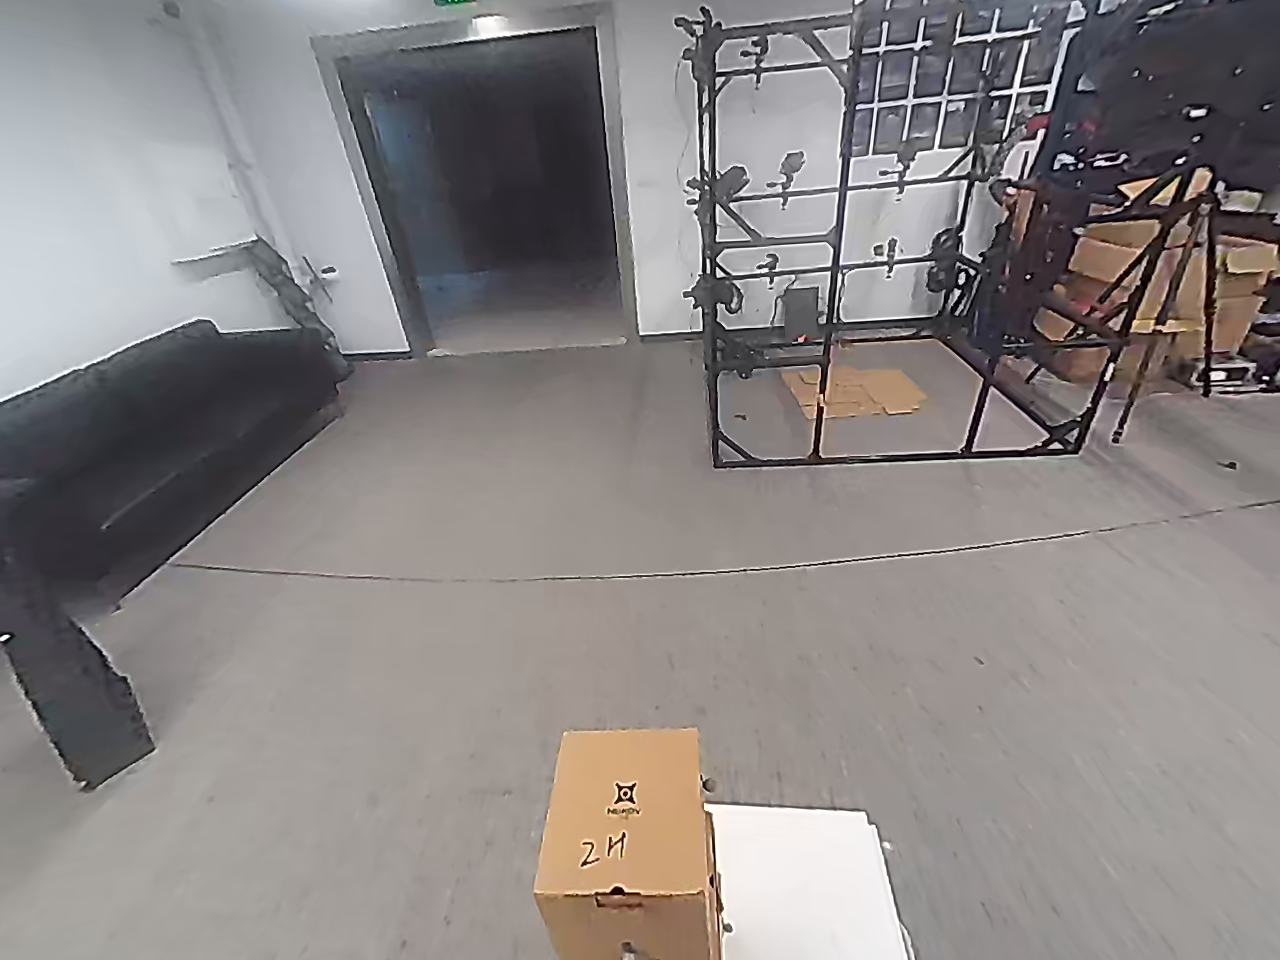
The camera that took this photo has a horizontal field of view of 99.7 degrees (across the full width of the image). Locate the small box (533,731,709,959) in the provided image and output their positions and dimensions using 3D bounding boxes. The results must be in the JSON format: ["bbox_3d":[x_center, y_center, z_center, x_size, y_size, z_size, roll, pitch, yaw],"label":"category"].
[{"bbox_3d":[-0.009,0.415,0.617,0.168,0.176,0.179,-4,30,6],"label":"small box"}]

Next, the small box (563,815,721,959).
[{"bbox_3d":[0.012,0.558,0.696,0.179,0.176,0.168,-4,30,6],"label":"small box"}]
